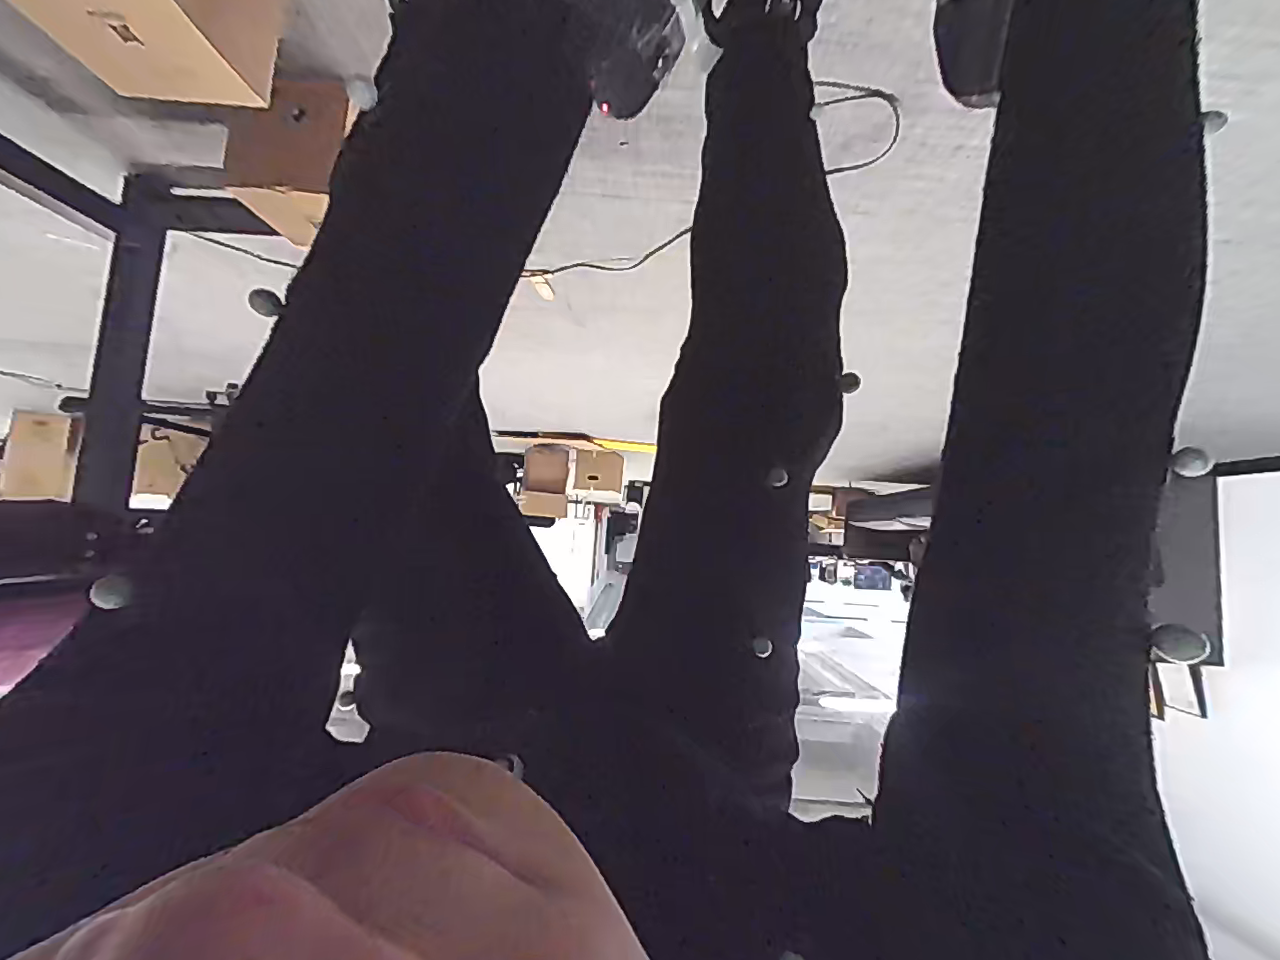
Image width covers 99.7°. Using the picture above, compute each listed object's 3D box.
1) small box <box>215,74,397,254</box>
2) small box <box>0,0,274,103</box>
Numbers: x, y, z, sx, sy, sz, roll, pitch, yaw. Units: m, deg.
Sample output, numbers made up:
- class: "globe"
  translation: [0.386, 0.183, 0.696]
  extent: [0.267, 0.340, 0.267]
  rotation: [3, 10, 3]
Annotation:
- class: "small box"
  translation: [-0.494, -0.475, 0.830]
  extent: [0.168, 0.176, 0.179]
  rotation: [4, 174, 1]
- class: "small box"
  translation: [-0.483, -0.502, 0.506]
  extent: [0.168, 0.176, 0.179]
  rotation: [5, 176, 0]
